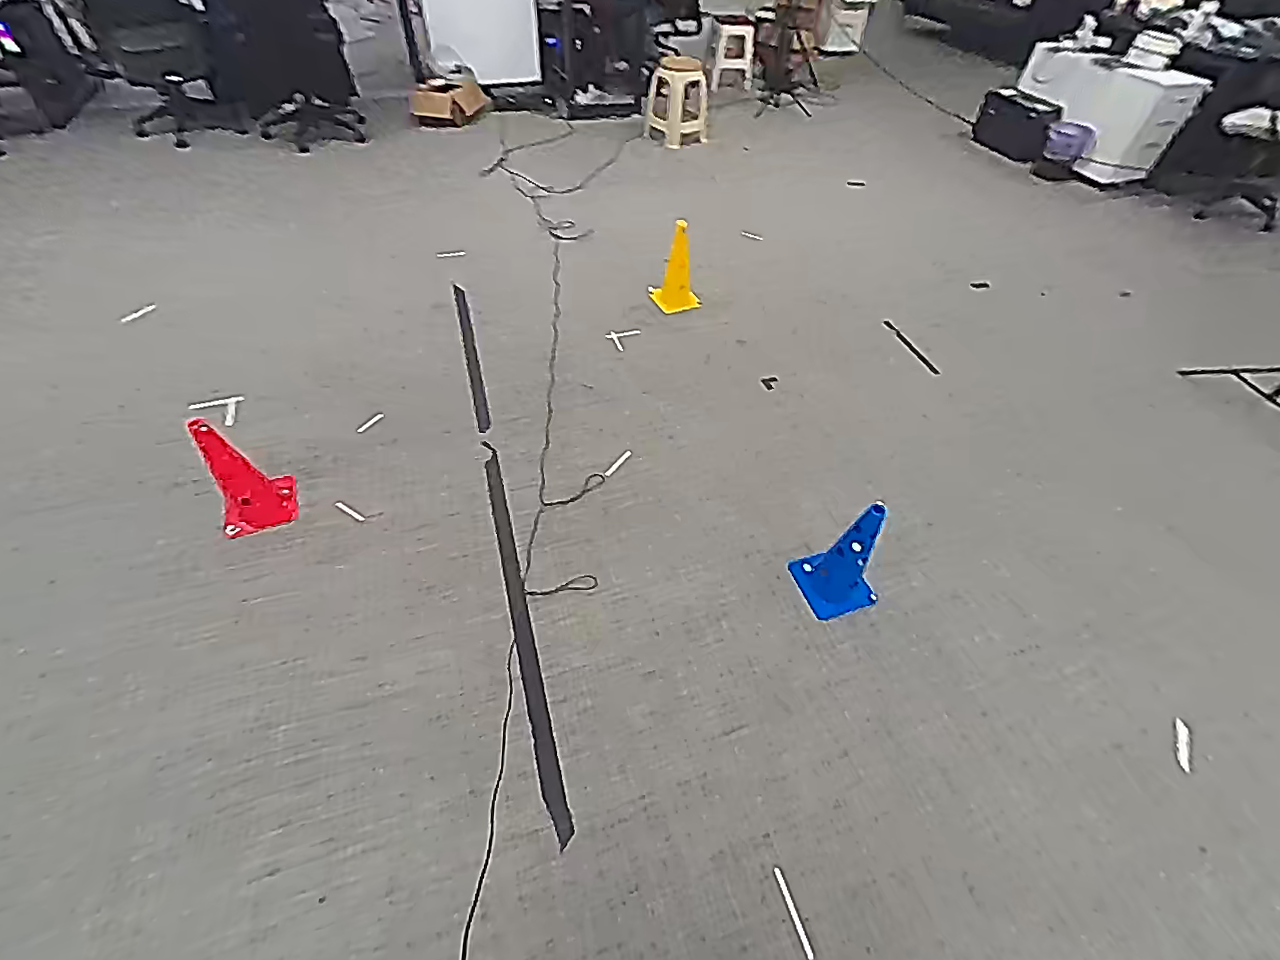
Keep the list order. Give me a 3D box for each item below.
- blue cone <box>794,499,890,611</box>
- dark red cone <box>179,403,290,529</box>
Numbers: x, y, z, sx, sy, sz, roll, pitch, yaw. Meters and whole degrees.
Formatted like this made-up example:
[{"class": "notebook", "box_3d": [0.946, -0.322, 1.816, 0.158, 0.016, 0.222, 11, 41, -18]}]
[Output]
[{"class": "blue cone", "box_3d": [0.572, 0.181, 1.457, 0.192, 0.380, 0.193, -11, 51, -14]}, {"class": "dark red cone", "box_3d": [-1.171, -0.054, 1.524, 0.201, 0.394, 0.202, -18, 53, -19]}]
